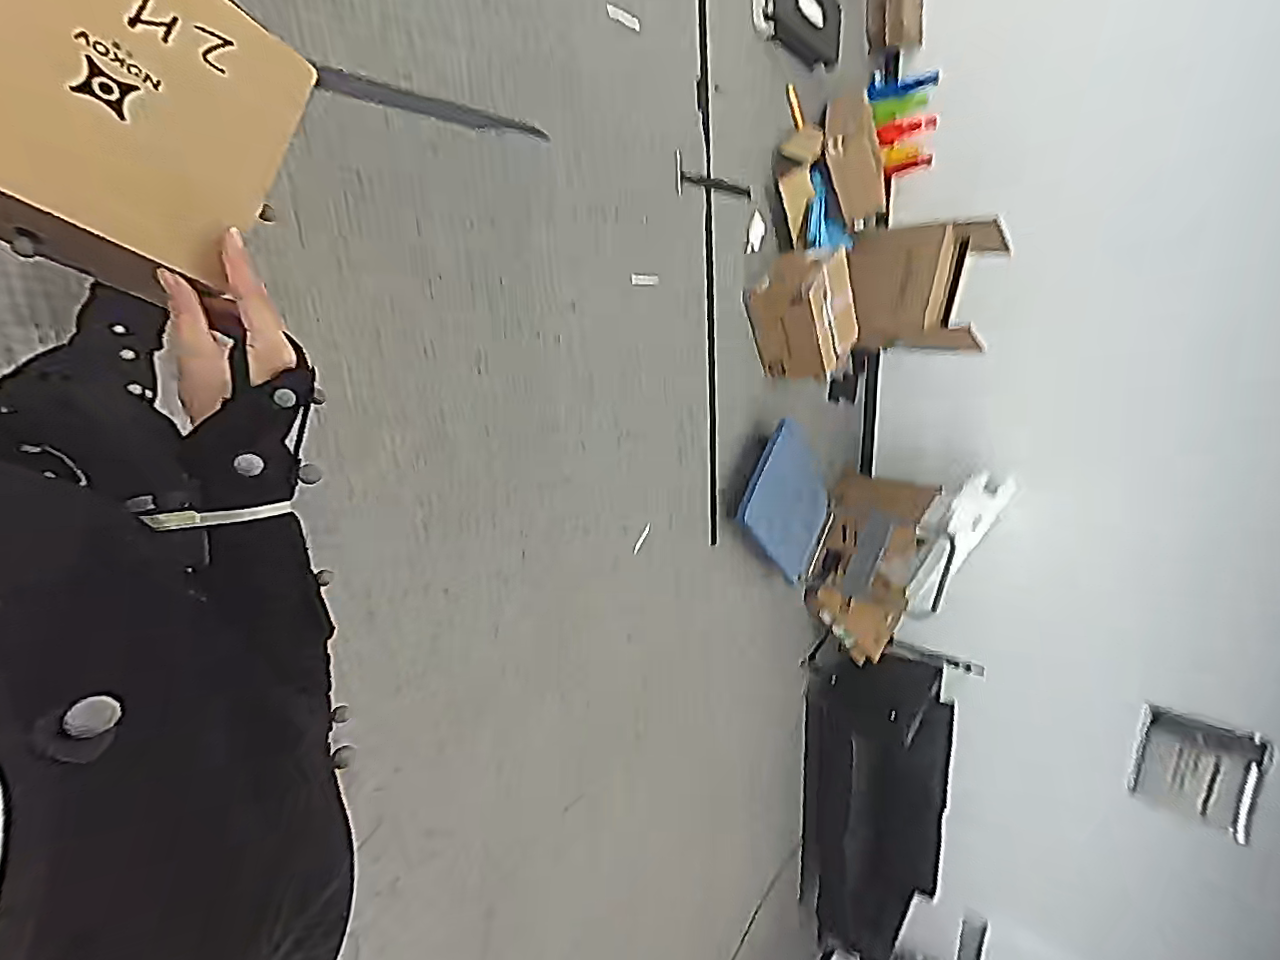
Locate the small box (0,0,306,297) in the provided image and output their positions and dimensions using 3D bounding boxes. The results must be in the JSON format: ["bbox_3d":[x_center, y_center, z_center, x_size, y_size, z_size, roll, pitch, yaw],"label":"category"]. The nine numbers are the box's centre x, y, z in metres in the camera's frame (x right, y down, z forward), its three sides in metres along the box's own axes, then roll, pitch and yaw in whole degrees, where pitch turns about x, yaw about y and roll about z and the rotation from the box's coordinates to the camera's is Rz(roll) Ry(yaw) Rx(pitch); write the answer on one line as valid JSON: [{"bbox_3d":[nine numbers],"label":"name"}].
[{"bbox_3d":[-0.365,-0.240,0.360,0.168,0.176,0.179,24,79,-50],"label":"small box"}]
